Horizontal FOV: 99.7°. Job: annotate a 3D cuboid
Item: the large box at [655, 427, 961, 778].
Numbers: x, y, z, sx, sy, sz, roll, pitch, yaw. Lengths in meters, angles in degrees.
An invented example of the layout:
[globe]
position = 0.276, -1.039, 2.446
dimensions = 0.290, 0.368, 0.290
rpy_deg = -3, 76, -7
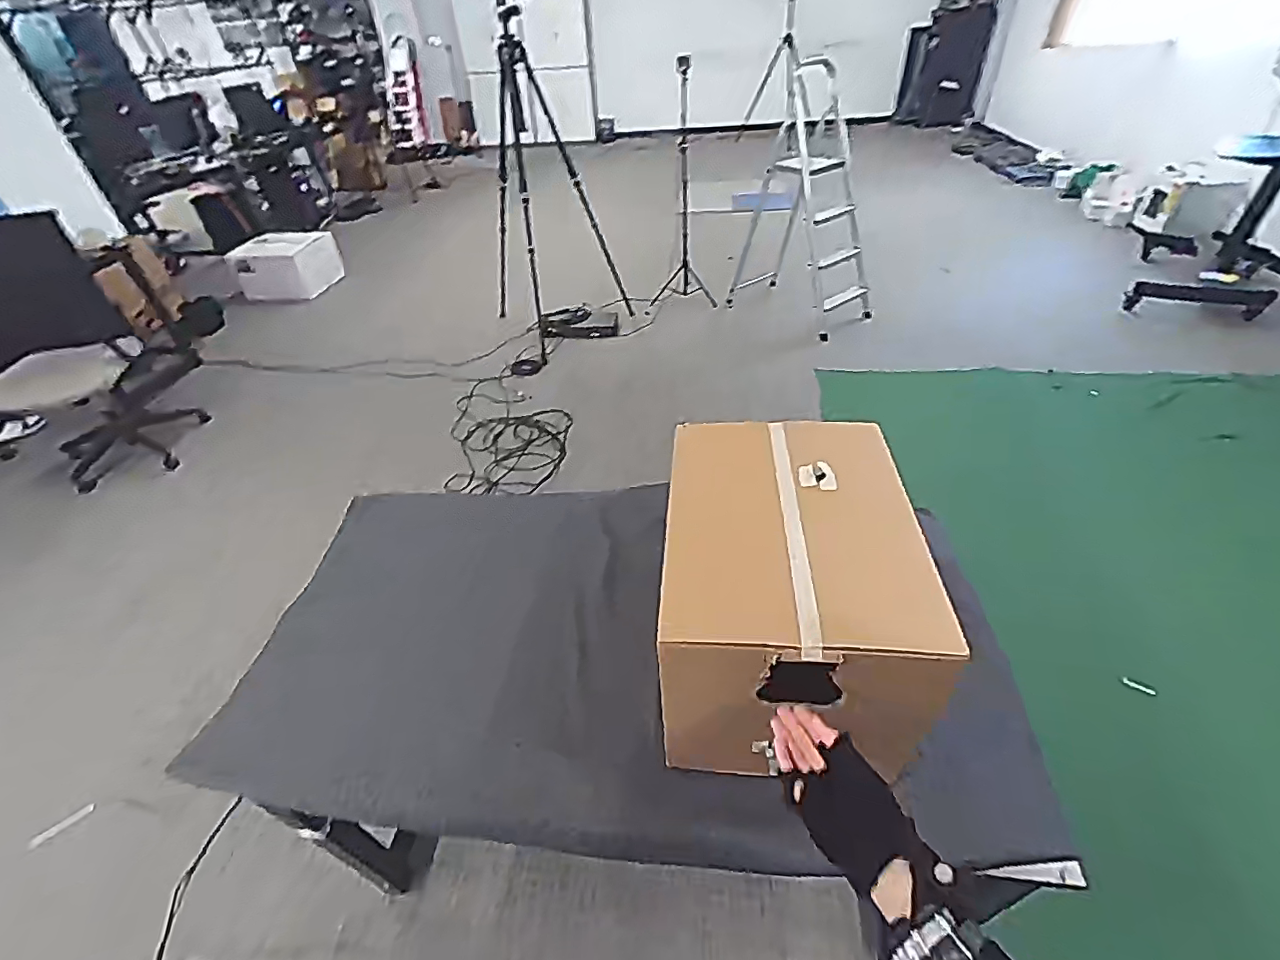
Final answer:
[large box]
position = 0.197, 0.163, 0.793
dimensions = 0.320, 0.320, 0.408
rpy_deg = 0, 39, 7
